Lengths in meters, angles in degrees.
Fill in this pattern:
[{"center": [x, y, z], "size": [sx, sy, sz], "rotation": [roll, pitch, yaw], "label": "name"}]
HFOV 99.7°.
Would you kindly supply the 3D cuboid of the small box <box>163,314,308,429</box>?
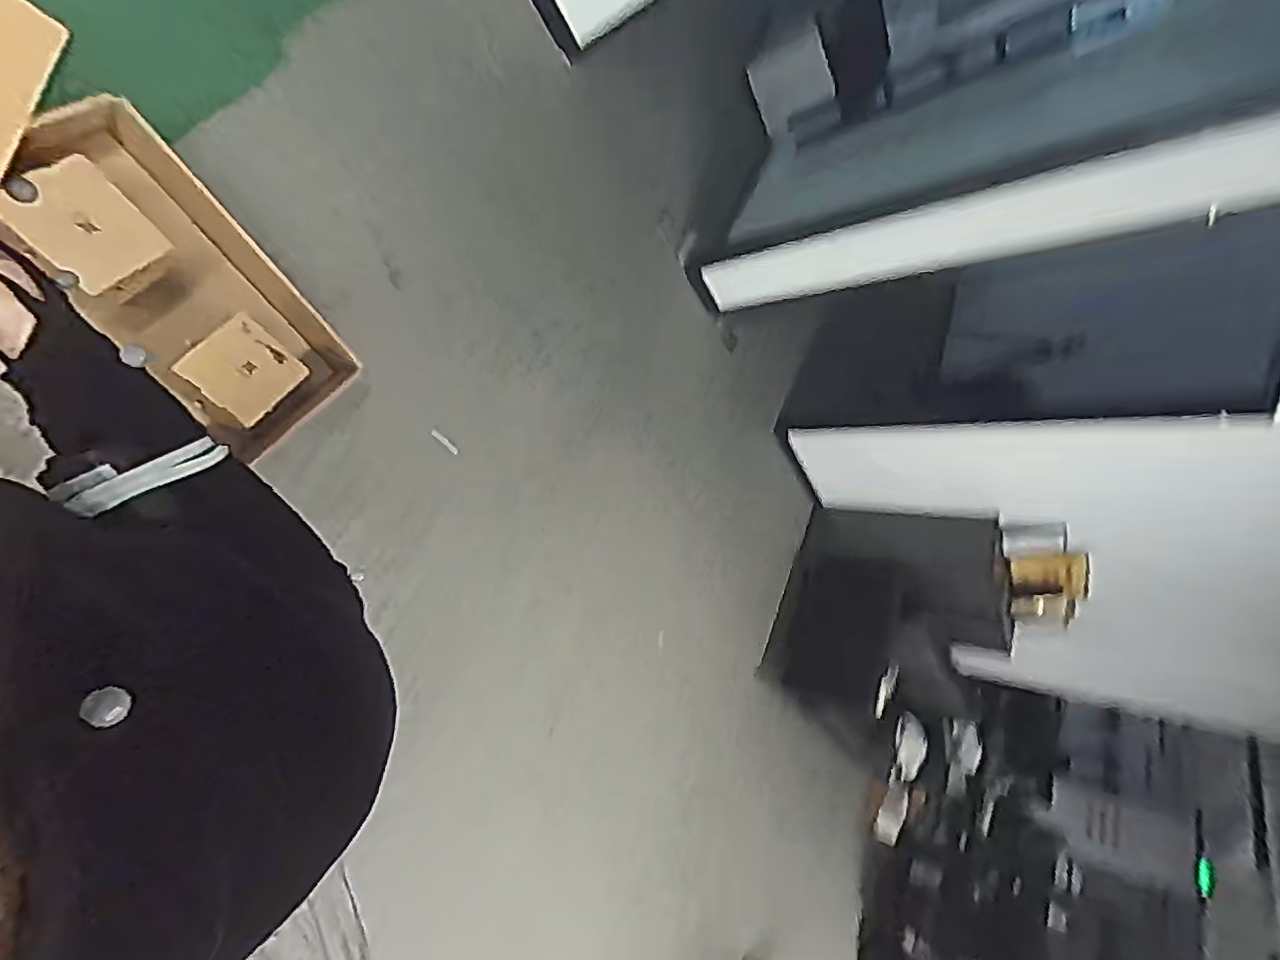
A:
[{"center": [-0.864, -0.223, 1.151], "size": [0.168, 0.176, 0.179], "rotation": [54, 54, -36], "label": "small box"}]
